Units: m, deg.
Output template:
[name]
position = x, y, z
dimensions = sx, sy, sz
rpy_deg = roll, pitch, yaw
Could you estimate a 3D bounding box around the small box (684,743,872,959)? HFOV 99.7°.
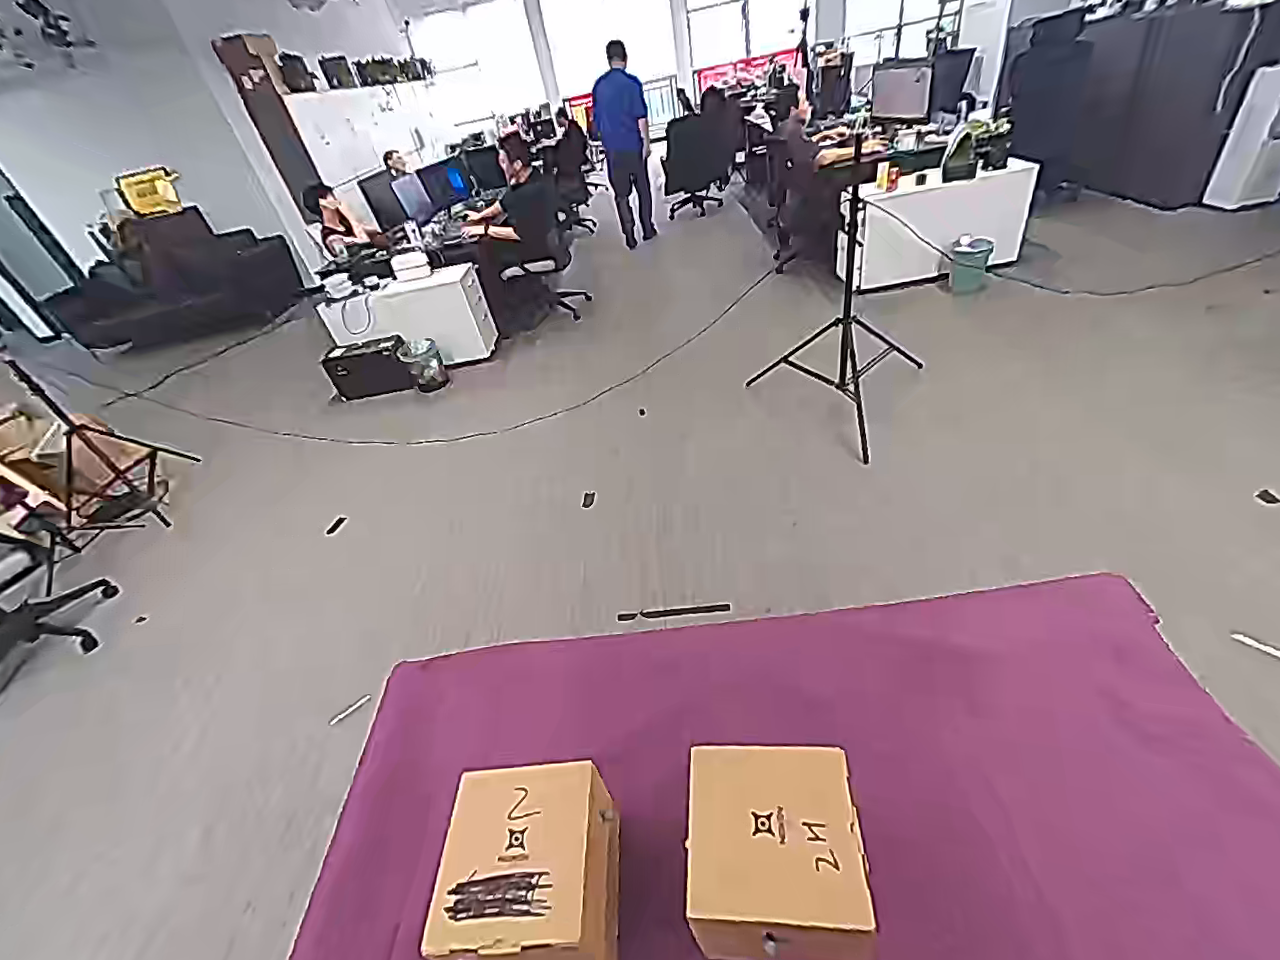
[small box]
position = 0.150, 0.420, 0.611
dimensions = 0.179, 0.176, 0.168
rpy_deg = -4, 38, 11
